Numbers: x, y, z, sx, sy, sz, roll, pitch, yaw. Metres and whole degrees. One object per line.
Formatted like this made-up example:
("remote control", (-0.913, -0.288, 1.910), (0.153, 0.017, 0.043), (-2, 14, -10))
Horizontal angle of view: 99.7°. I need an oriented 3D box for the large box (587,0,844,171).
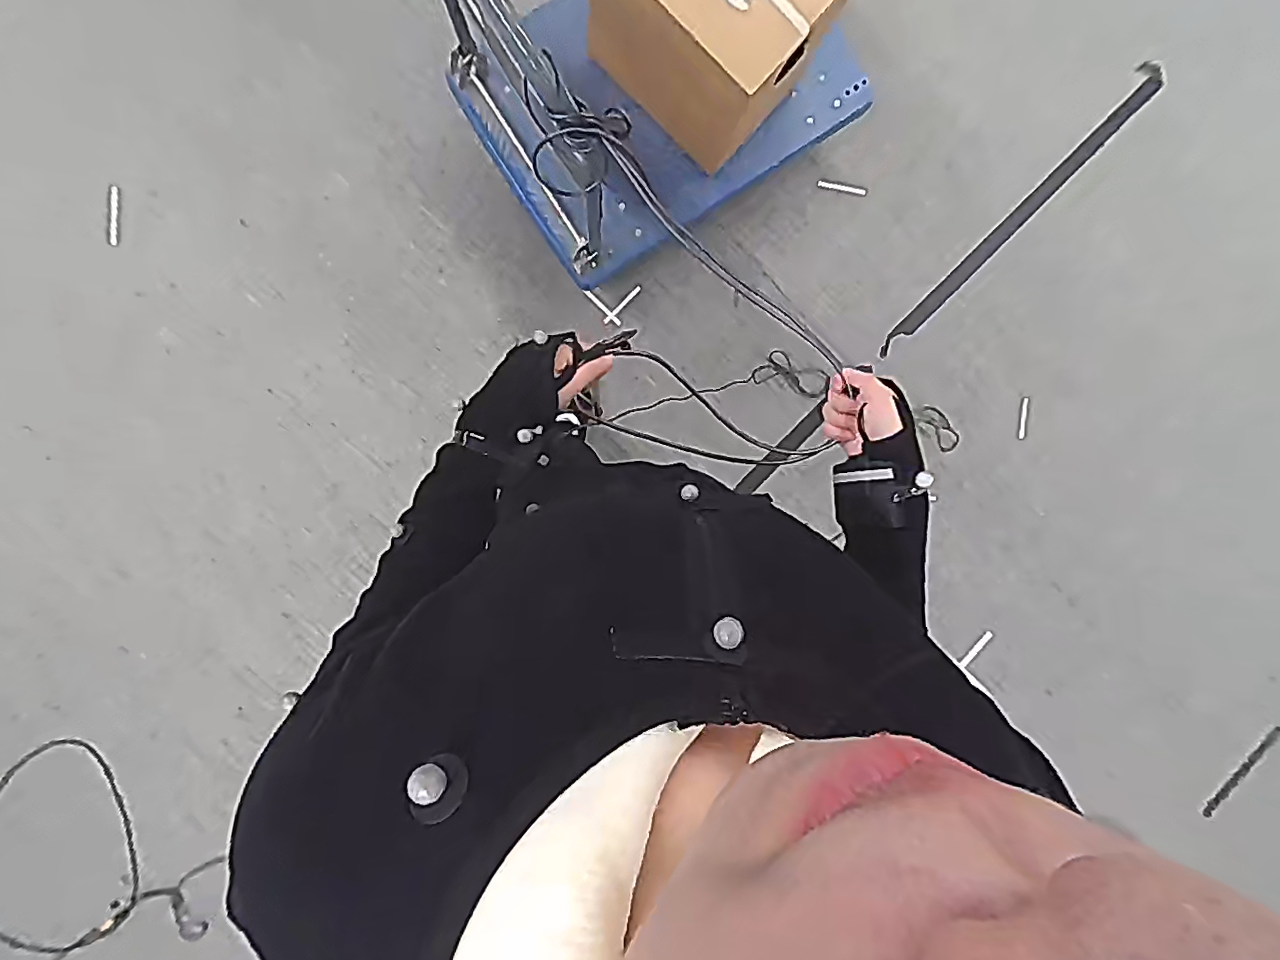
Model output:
("large box", (0.139, -0.957, 1.110), (0.408, 0.320, 0.320), (42, 90, -8))
